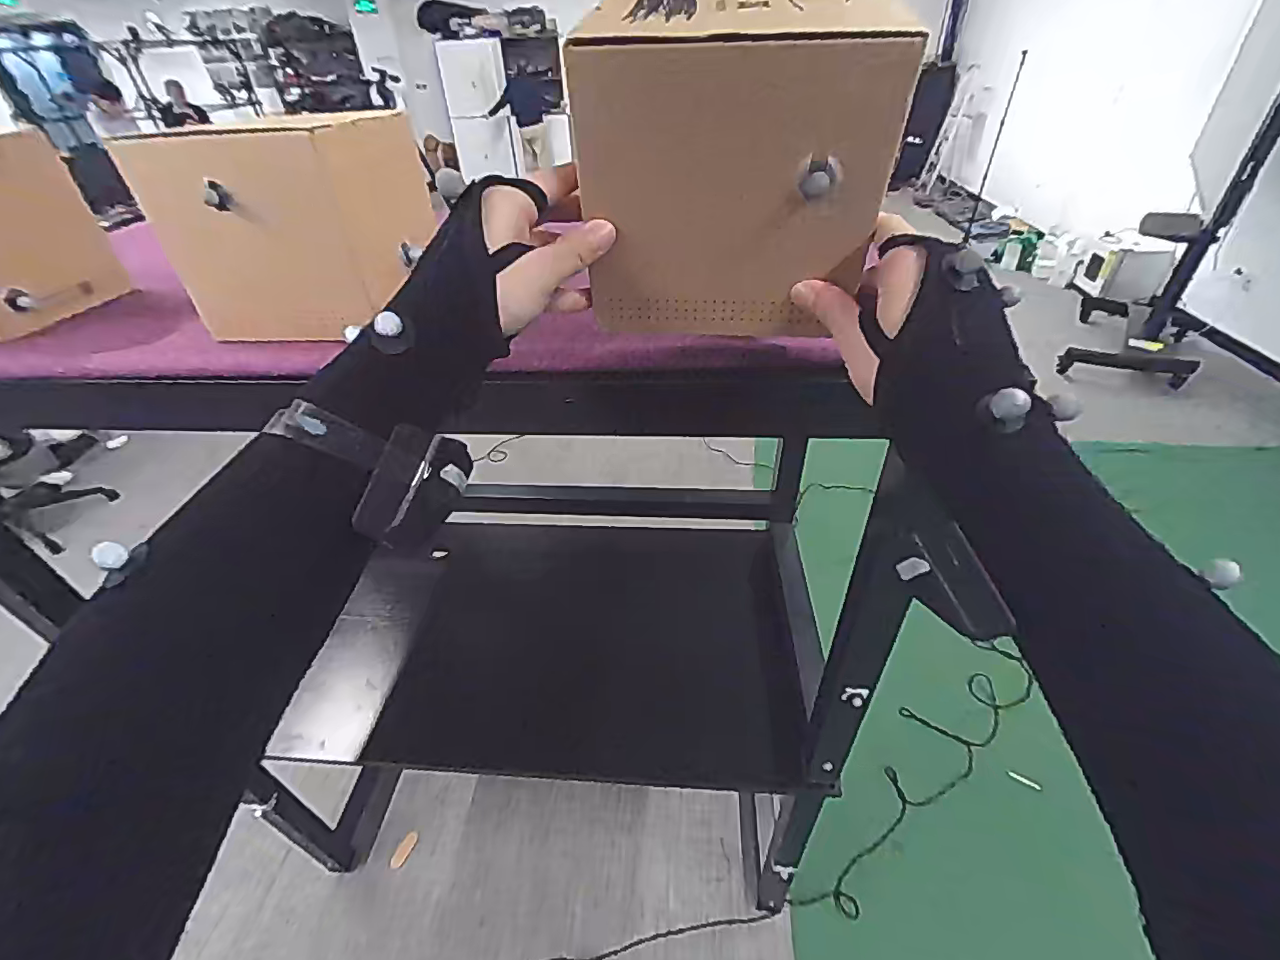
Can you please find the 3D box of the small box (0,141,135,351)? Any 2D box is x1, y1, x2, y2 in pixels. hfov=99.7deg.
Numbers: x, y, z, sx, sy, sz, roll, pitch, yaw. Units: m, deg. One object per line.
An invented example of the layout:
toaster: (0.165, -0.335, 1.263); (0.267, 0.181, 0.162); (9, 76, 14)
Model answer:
small box: (-0.708, -0.241, 0.566); (0.179, 0.176, 0.168); (-1, 38, 5)

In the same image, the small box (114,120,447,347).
small box: (-0.318, -0.238, 0.525); (0.179, 0.176, 0.168); (1, 38, 7)
